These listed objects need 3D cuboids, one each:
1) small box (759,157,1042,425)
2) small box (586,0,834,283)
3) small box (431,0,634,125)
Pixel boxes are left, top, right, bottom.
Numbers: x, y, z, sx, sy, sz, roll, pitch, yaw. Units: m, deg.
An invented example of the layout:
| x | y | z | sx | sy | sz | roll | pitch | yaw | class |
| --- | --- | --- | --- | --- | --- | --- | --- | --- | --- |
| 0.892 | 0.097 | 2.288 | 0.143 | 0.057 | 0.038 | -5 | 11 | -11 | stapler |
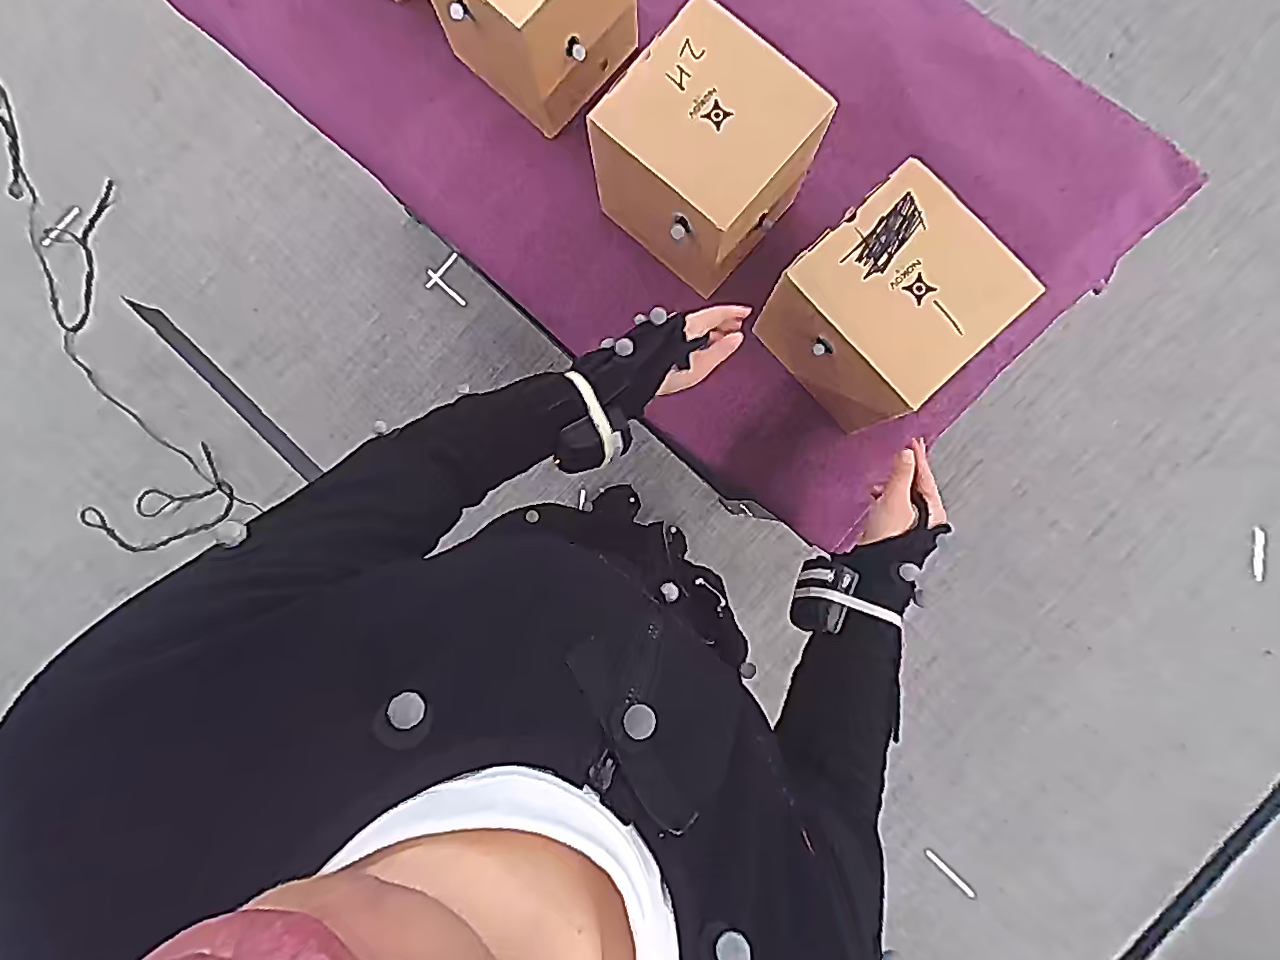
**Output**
| x | y | z | sx | sy | sz | roll | pitch | yaw | class |
| --- | --- | --- | --- | --- | --- | --- | --- | --- | --- |
| 0.250 | -0.178 | 0.571 | 0.168 | 0.176 | 0.179 | -42 | 87 | 0 | small box |
| 0.068 | -0.343 | 0.585 | 0.179 | 0.176 | 0.168 | 41 | 89 | 4 | small box |
| -0.122 | -0.546 | 0.603 | 0.179 | 0.176 | 0.168 | 43 | 90 | 3 | small box |
